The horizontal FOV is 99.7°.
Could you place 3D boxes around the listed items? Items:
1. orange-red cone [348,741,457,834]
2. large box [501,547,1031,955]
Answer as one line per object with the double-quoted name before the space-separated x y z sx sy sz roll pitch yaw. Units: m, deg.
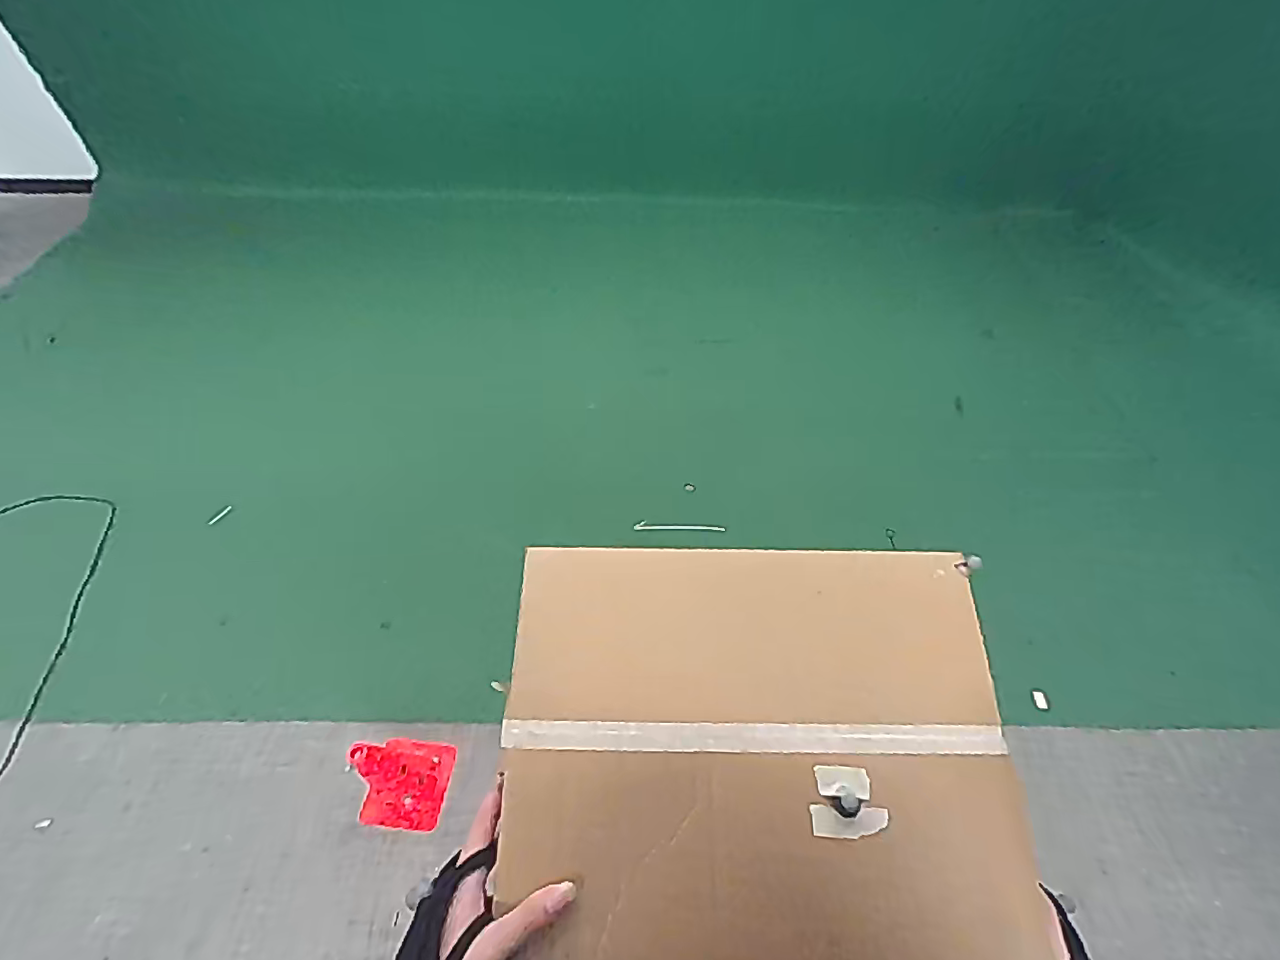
"orange-red cone" -0.593 0.682 1.265 0.199 0.360 0.198 5 51 5
"large box" 0.092 0.265 0.593 0.408 0.320 0.320 0 68 0
